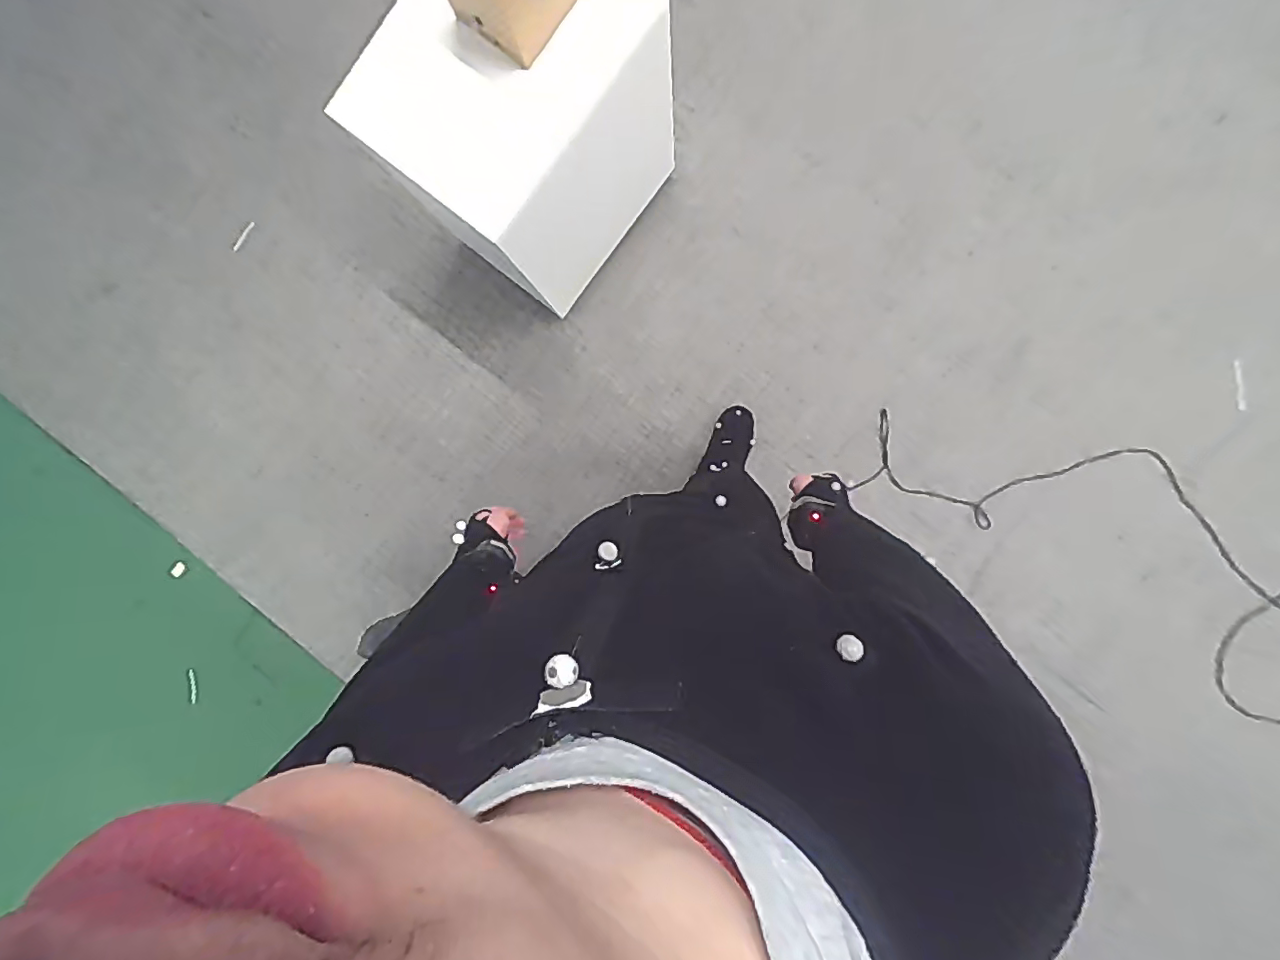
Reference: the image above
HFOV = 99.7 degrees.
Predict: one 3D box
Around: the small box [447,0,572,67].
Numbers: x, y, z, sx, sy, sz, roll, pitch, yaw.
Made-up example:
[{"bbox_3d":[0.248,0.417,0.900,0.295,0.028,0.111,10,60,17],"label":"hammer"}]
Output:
[{"bbox_3d":[-0.216,-0.813,0.841,0.168,0.176,0.179,38,95,1],"label":"small box"}]
